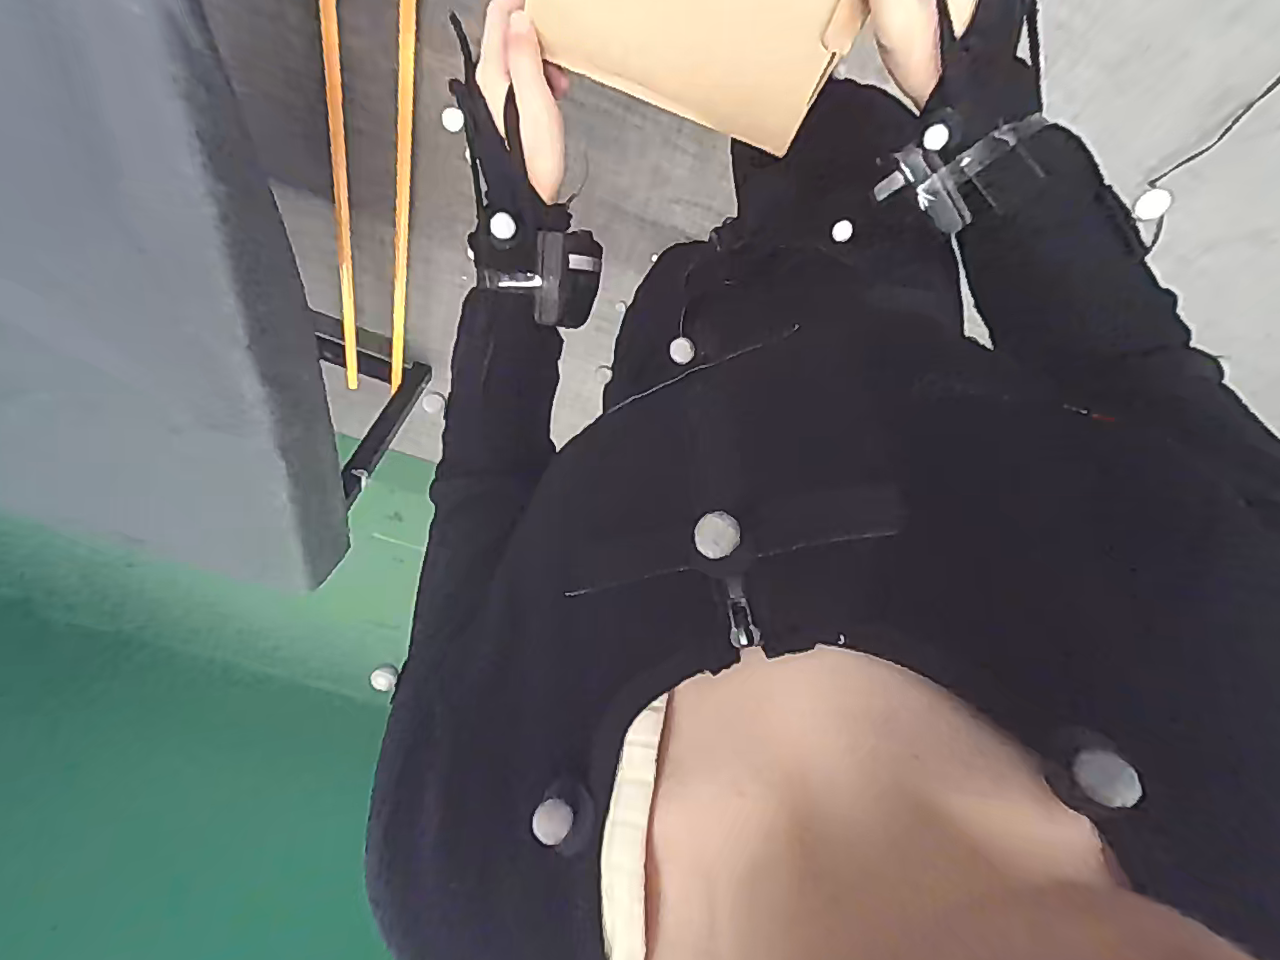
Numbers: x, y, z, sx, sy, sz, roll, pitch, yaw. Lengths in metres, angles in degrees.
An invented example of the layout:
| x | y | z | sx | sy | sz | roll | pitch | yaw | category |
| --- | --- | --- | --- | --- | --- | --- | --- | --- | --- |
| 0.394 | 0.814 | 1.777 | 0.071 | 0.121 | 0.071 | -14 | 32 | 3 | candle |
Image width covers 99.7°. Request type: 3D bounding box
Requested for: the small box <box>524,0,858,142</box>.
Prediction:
| x | y | z | sx | sy | sz | roll | pitch | yaw | category |
| --- | --- | --- | --- | --- | --- | --- | --- | --- | --- |
| 0.046 | -0.347 | 0.319 | 0.179 | 0.176 | 0.168 | 16 | 142 | -10 | small box |
